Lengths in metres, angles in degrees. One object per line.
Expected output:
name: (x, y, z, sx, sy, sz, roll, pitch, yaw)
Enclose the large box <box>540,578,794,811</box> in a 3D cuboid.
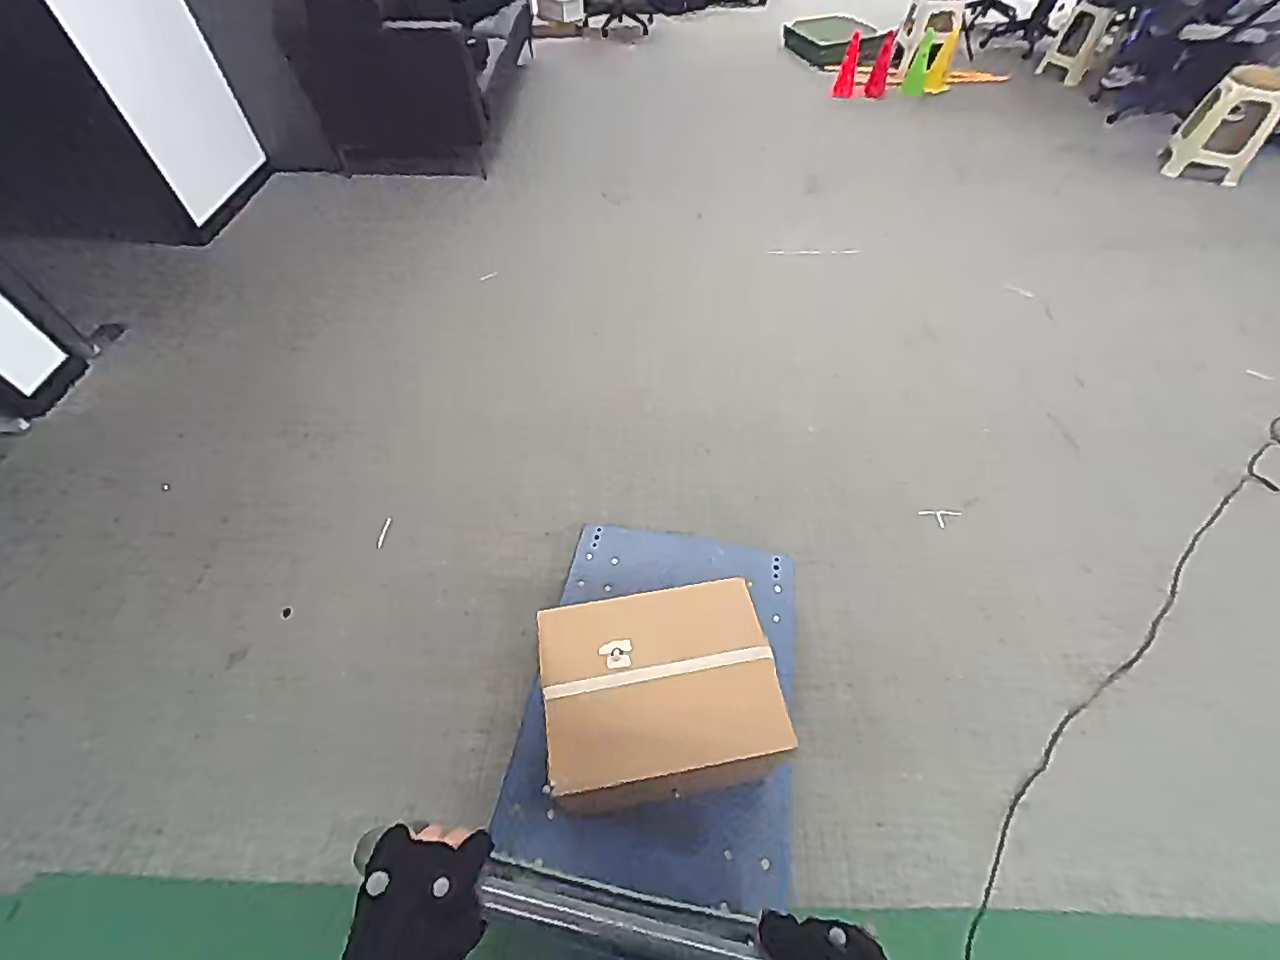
large box: (0.039, 0.431, 1.075, 0.408, 0.320, 0.320, -9, 53, -5)
